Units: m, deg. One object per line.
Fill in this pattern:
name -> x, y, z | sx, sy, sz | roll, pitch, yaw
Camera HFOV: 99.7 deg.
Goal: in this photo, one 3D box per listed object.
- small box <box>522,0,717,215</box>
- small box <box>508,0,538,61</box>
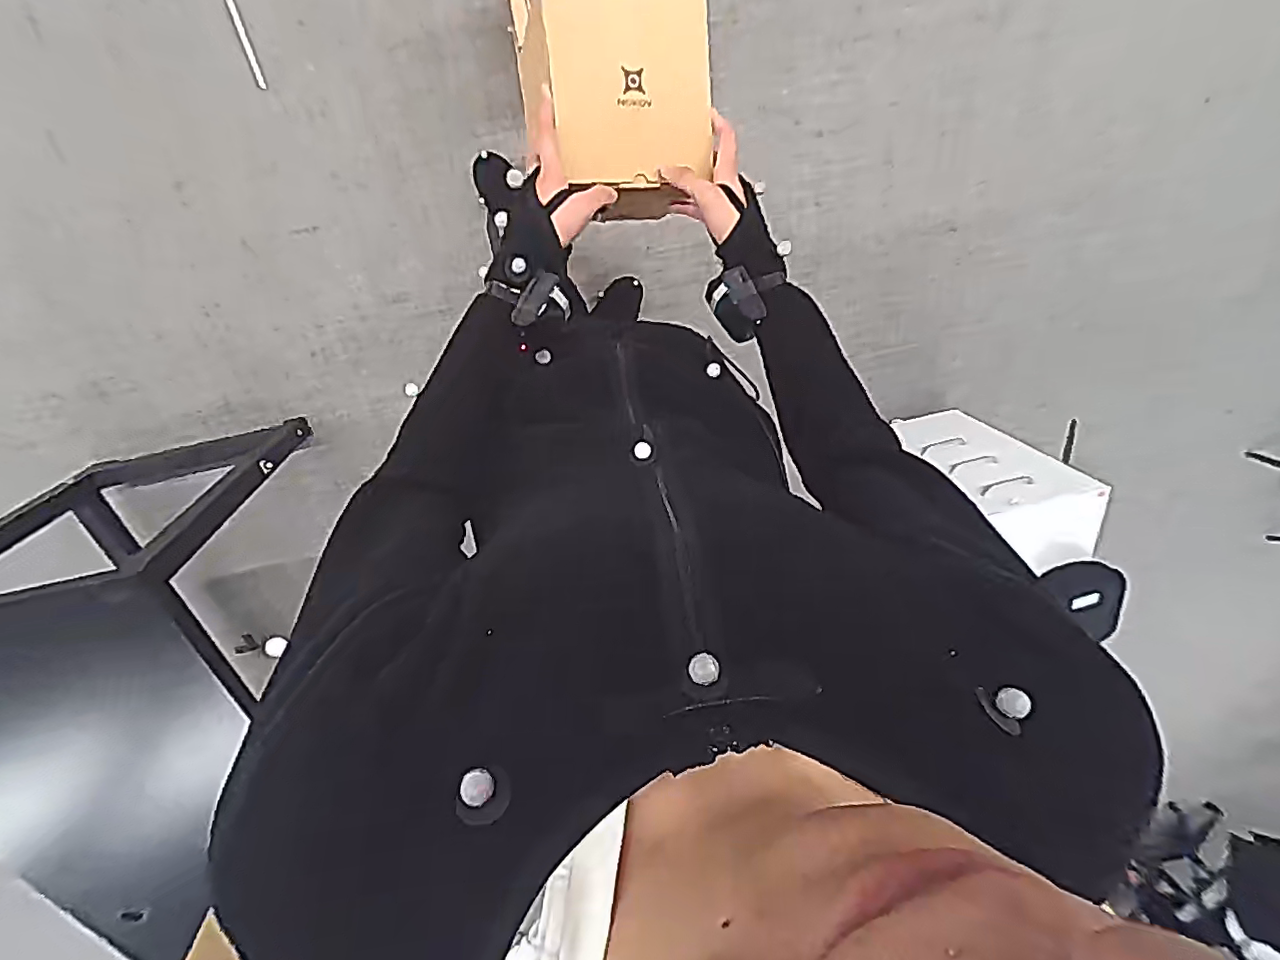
small box -> -0.029, -0.402, 0.587 | 0.168, 0.176, 0.179 | -10, 107, -16
small box -> -0.153, -0.879, 0.980 | 0.179, 0.176, 0.168 | -13, 118, -5
